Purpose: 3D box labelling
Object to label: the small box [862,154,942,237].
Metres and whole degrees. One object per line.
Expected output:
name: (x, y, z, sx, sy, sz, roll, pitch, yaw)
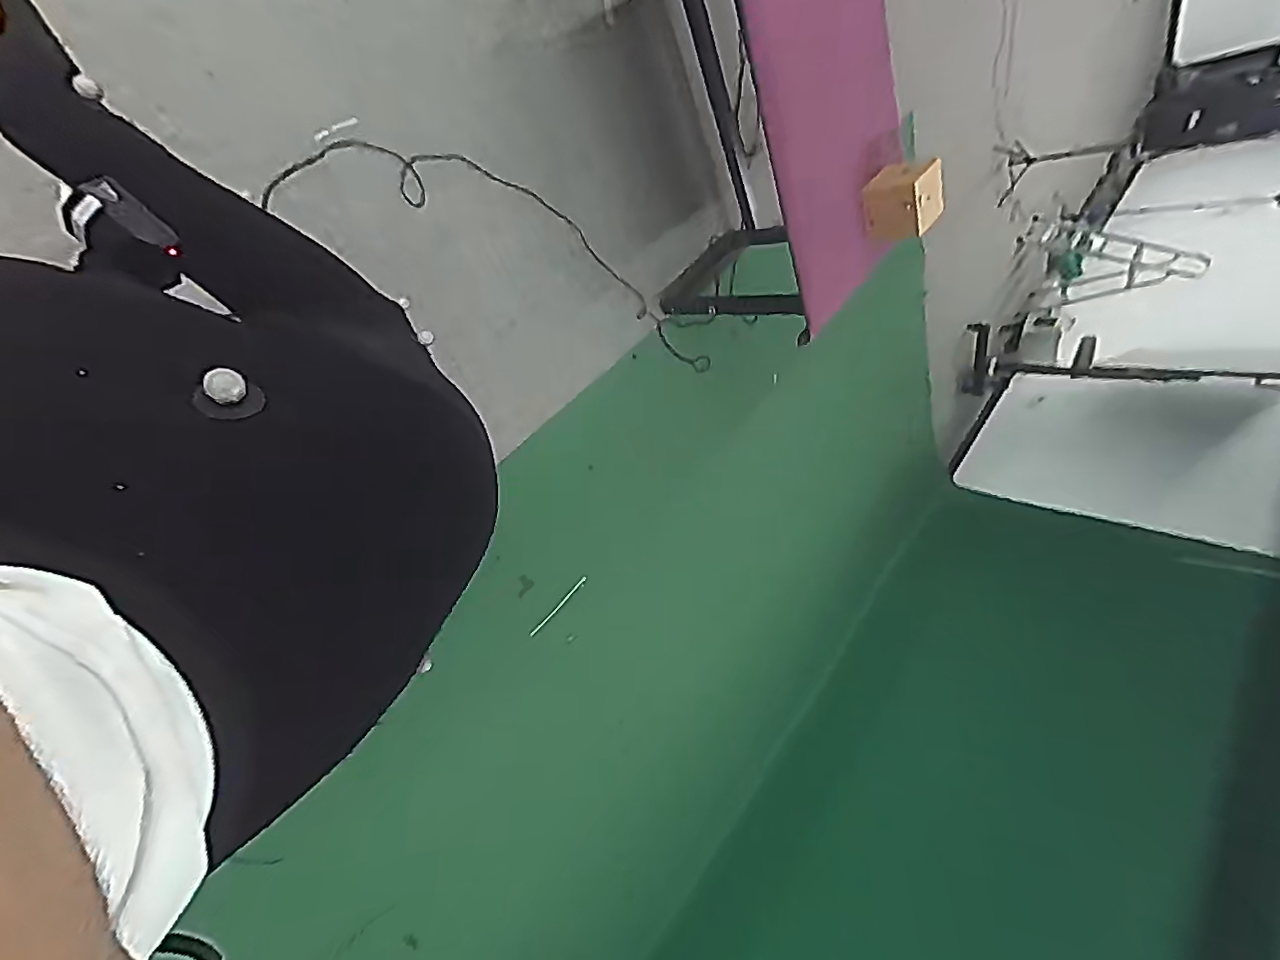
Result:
small box: (0.820, -0.886, 1.693, 0.179, 0.176, 0.168, -47, 130, -22)
